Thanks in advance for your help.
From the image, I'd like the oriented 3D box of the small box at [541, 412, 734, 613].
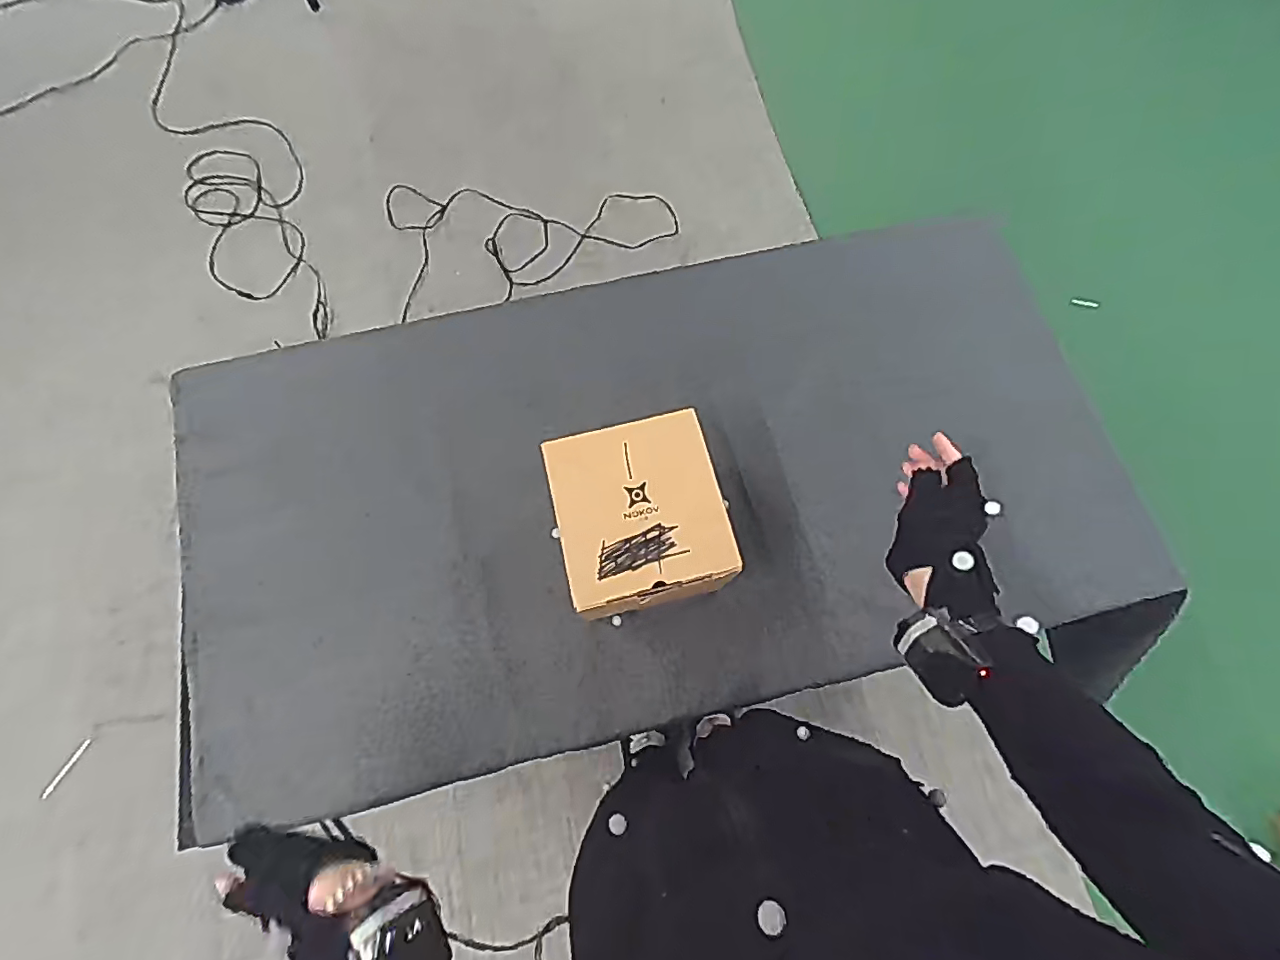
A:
[{"bbox_3d":[-0.004,0.049,0.618,0.168,0.176,0.179,-14,72,-4],"label":"small box"}]
